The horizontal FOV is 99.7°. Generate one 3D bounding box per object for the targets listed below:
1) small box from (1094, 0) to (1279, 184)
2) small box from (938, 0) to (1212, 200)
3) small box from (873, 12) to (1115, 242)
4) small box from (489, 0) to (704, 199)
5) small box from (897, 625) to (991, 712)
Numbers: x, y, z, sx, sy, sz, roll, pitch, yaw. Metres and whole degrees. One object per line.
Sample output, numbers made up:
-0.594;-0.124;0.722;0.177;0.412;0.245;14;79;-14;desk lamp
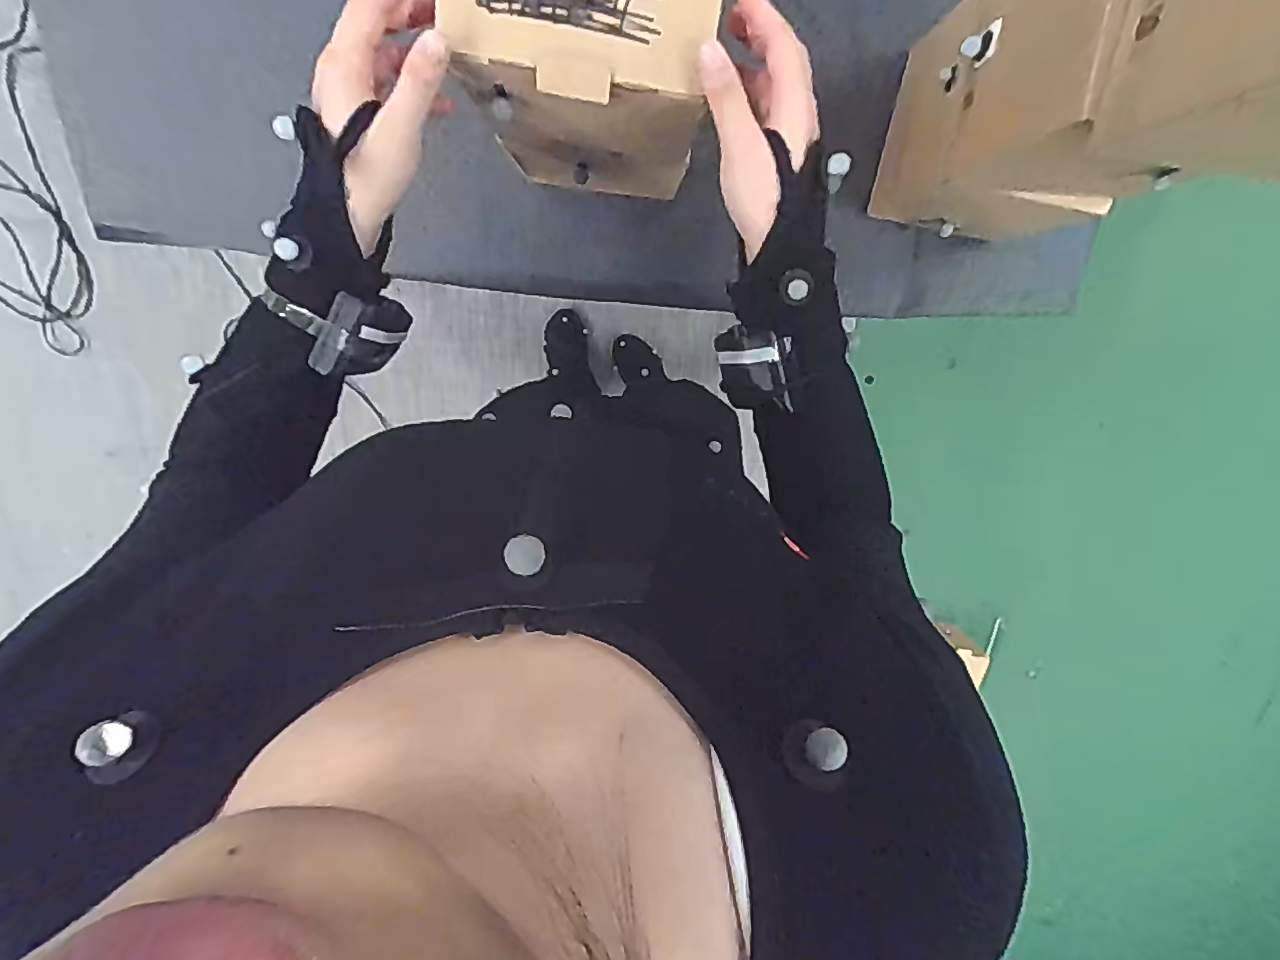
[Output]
0.374;-0.249;0.242;0.179;0.176;0.168;7;104;-3;small box
0.359;-0.316;0.394;0.179;0.176;0.168;2;105;-1;small box
0.366;-0.359;0.551;0.168;0.176;0.179;9;106;-4;small box
-0.037;-0.390;0.533;0.179;0.176;0.168;6;107;-2;small box
0.914;0.571;1.647;0.168;0.176;0.179;8;107;-4;small box
